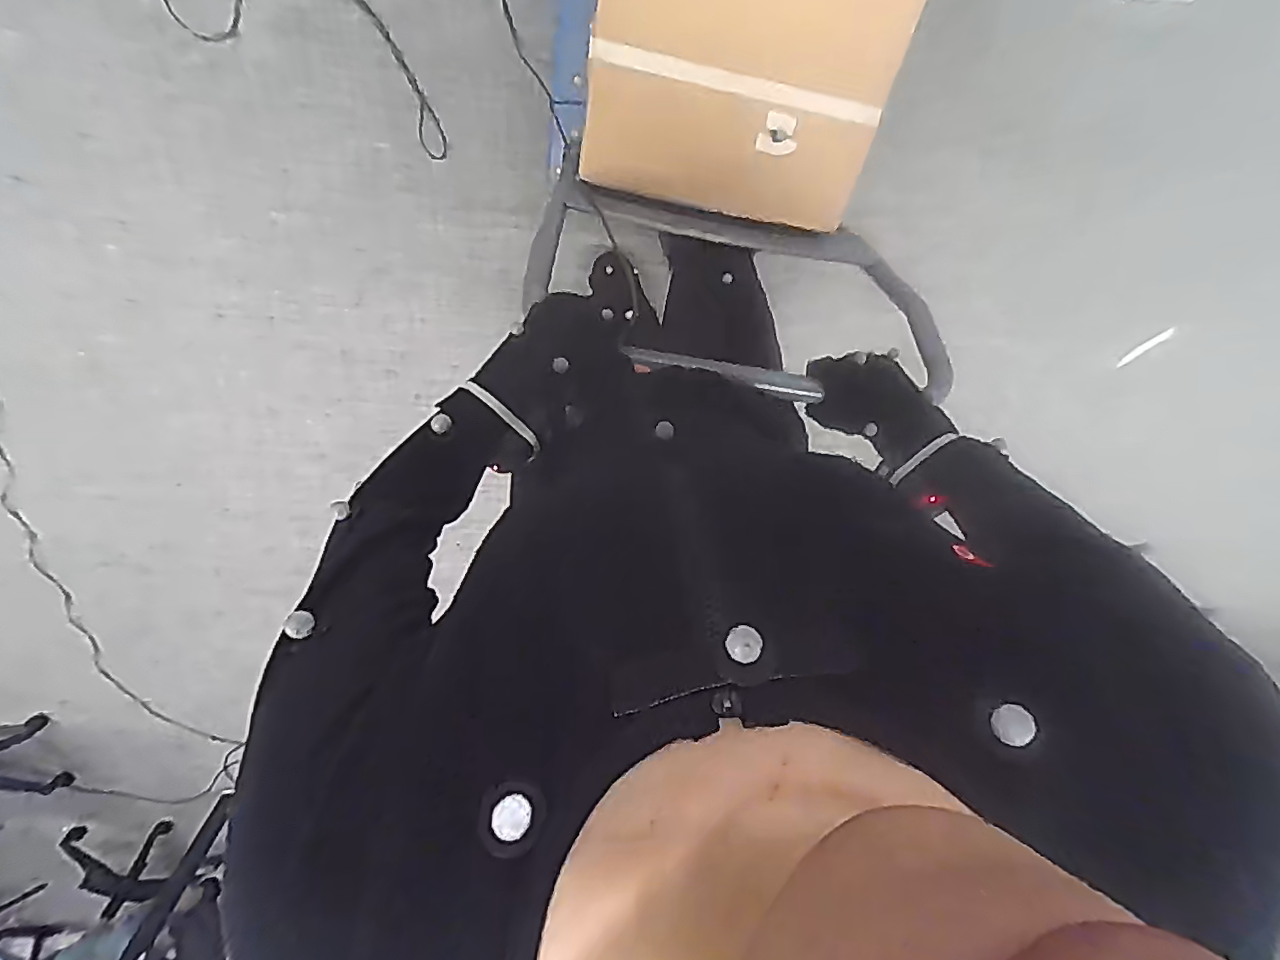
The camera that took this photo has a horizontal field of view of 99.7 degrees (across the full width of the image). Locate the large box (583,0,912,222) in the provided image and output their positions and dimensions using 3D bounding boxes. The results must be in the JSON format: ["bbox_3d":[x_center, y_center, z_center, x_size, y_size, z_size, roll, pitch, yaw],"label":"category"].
[{"bbox_3d":[0.126,-0.640,0.857,0.408,0.320,0.320,7,128,-9],"label":"large box"}]
